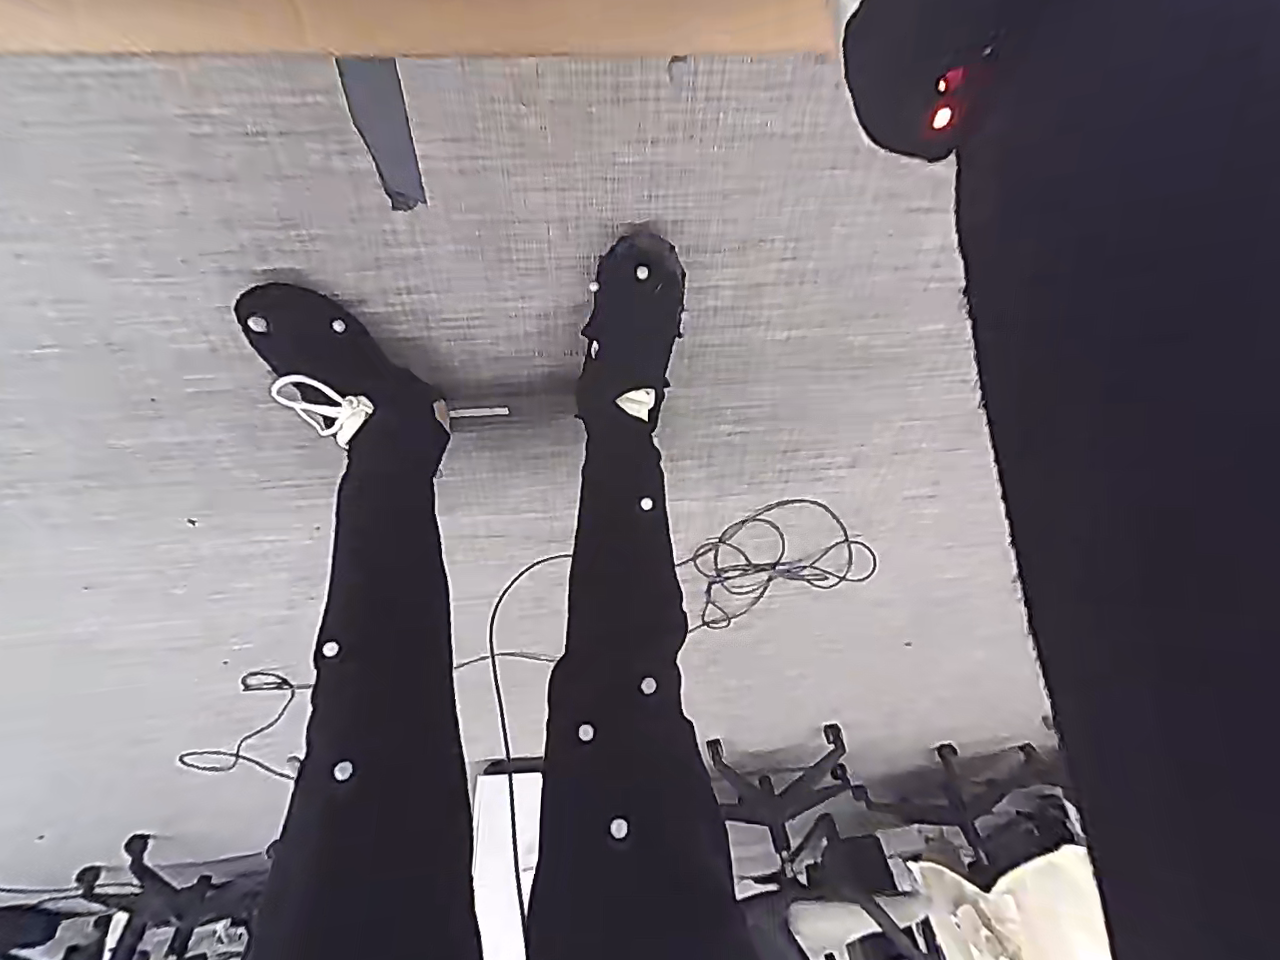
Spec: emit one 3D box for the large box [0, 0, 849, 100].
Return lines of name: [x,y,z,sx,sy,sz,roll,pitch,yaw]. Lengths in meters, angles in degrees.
large box: [-0.120,-0.387,0.246,0.408,0.320,0.320,-4,132,-5]
